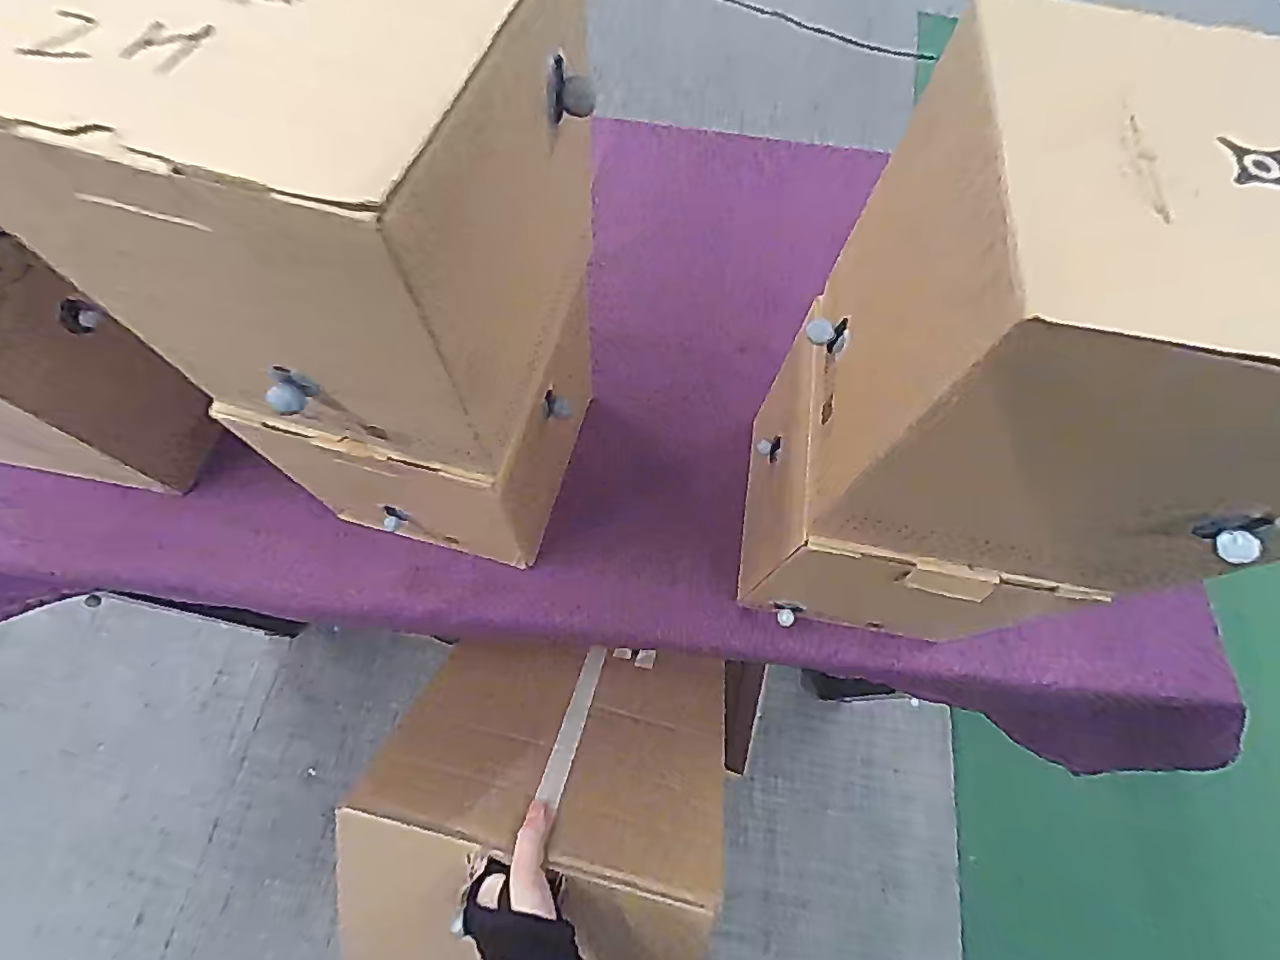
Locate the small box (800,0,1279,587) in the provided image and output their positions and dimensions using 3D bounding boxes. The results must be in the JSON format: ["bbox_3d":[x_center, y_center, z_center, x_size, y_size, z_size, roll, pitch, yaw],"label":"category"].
[{"bbox_3d":[0.189,-0.059,0.241,0.179,0.176,0.168,11,66,2],"label":"small box"}]

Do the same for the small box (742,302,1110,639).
[{"bbox_3d":[0.175,0.007,0.390,0.168,0.176,0.179,10,66,1],"label":"small box"}]

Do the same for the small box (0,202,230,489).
[{"bbox_3d":[-0.434,-0.106,0.400,0.179,0.176,0.168,10,68,1],"label":"small box"}]

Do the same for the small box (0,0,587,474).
[{"bbox_3d":[-0.127,-0.128,0.251,0.168,0.176,0.179,16,68,4],"label":"small box"}]

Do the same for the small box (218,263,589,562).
[{"bbox_3d":[-0.139,-0.058,0.400,0.168,0.176,0.179,14,68,3],"label":"small box"}]
